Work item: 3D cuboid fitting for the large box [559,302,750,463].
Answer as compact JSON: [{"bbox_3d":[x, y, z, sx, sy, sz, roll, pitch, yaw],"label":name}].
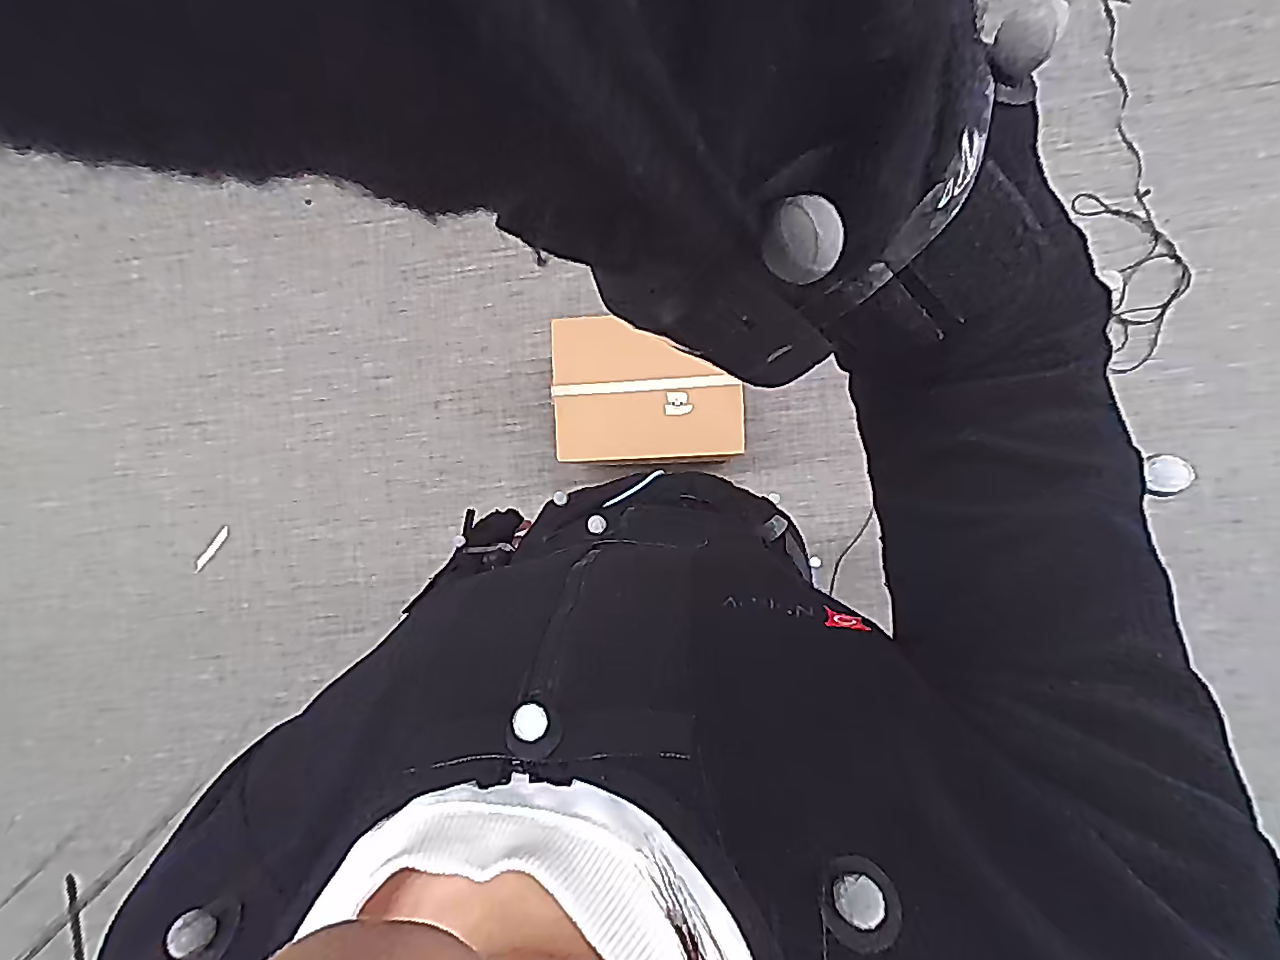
[{"bbox_3d":[0.038,-0.212,1.307,0.408,0.320,0.320,-2,90,5],"label":"large box"}]
